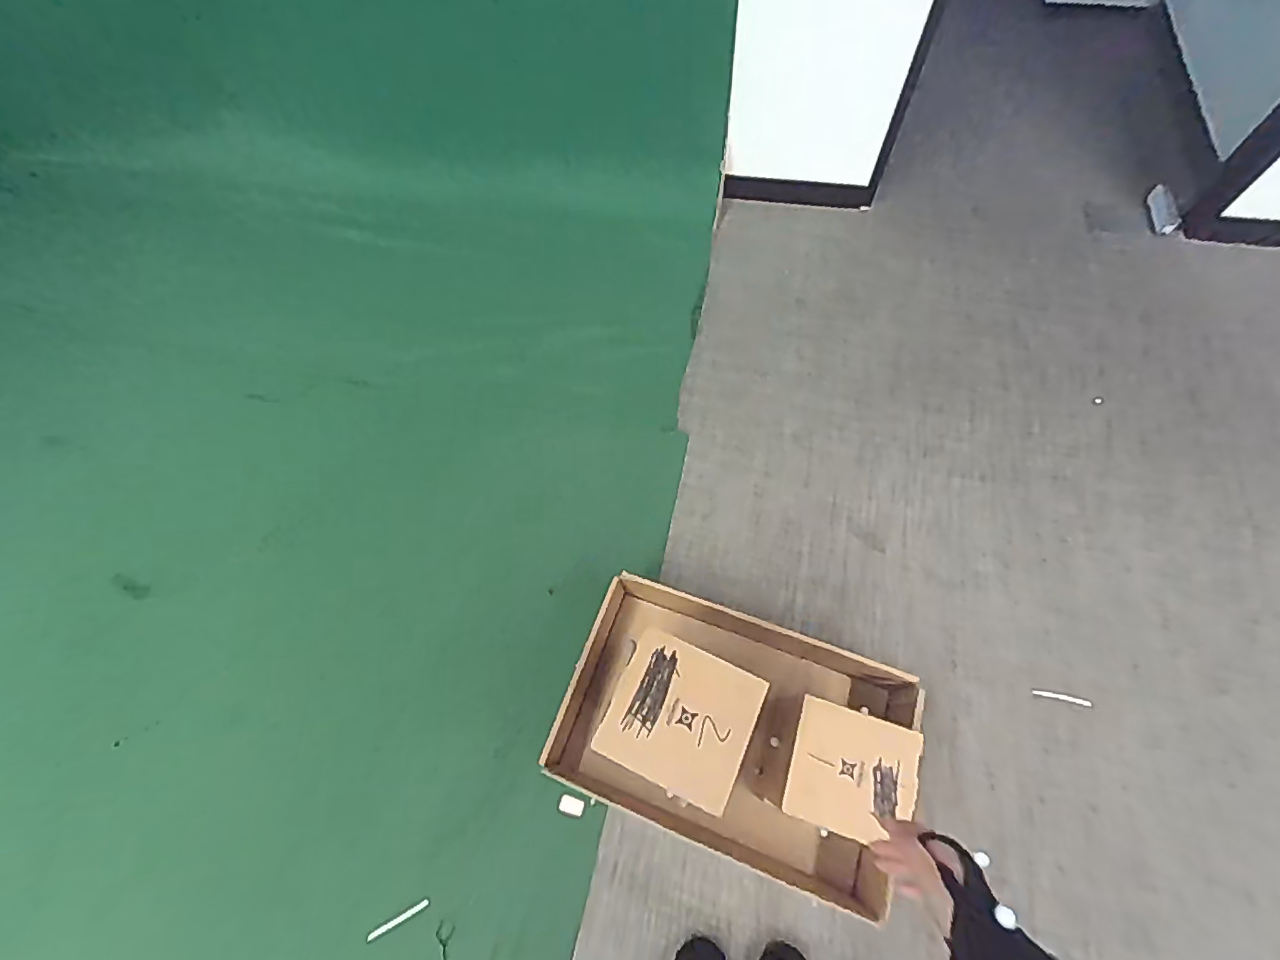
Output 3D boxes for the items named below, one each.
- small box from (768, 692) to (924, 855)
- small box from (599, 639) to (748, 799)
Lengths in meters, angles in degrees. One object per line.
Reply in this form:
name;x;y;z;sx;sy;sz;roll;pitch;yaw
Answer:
small box;0.311;0.444;0.843;0.179;0.176;0.168;15;68;12
small box;0.052;0.389;0.891;0.179;0.176;0.168;28;70;13
